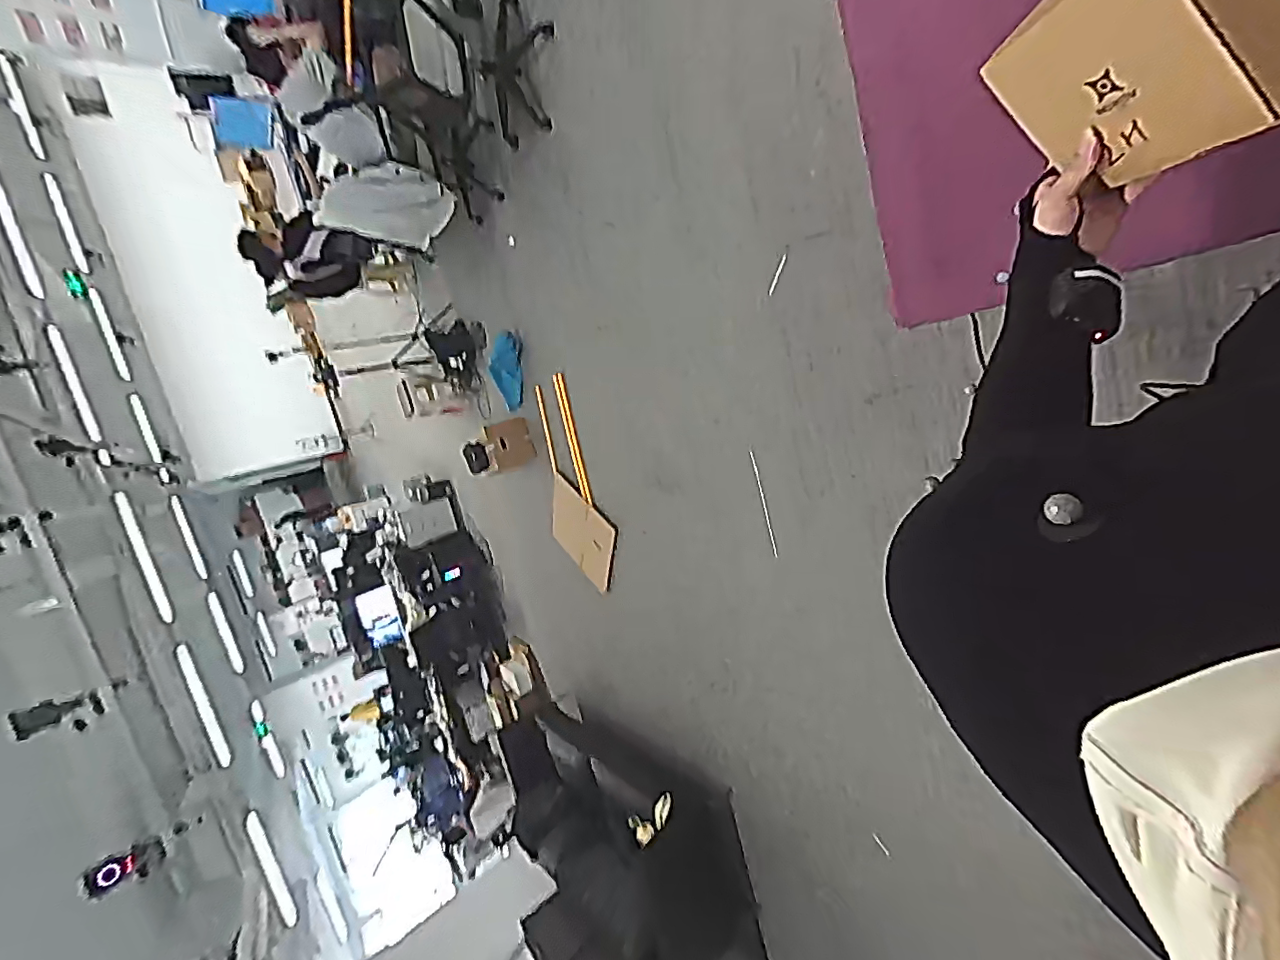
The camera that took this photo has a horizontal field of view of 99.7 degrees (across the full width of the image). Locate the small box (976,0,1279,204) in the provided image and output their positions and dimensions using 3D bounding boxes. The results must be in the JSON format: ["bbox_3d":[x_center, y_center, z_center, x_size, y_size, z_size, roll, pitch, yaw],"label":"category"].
[{"bbox_3d":[0.450,-0.387,0.461,0.179,0.176,0.168,42,-177,-10],"label":"small box"}]
